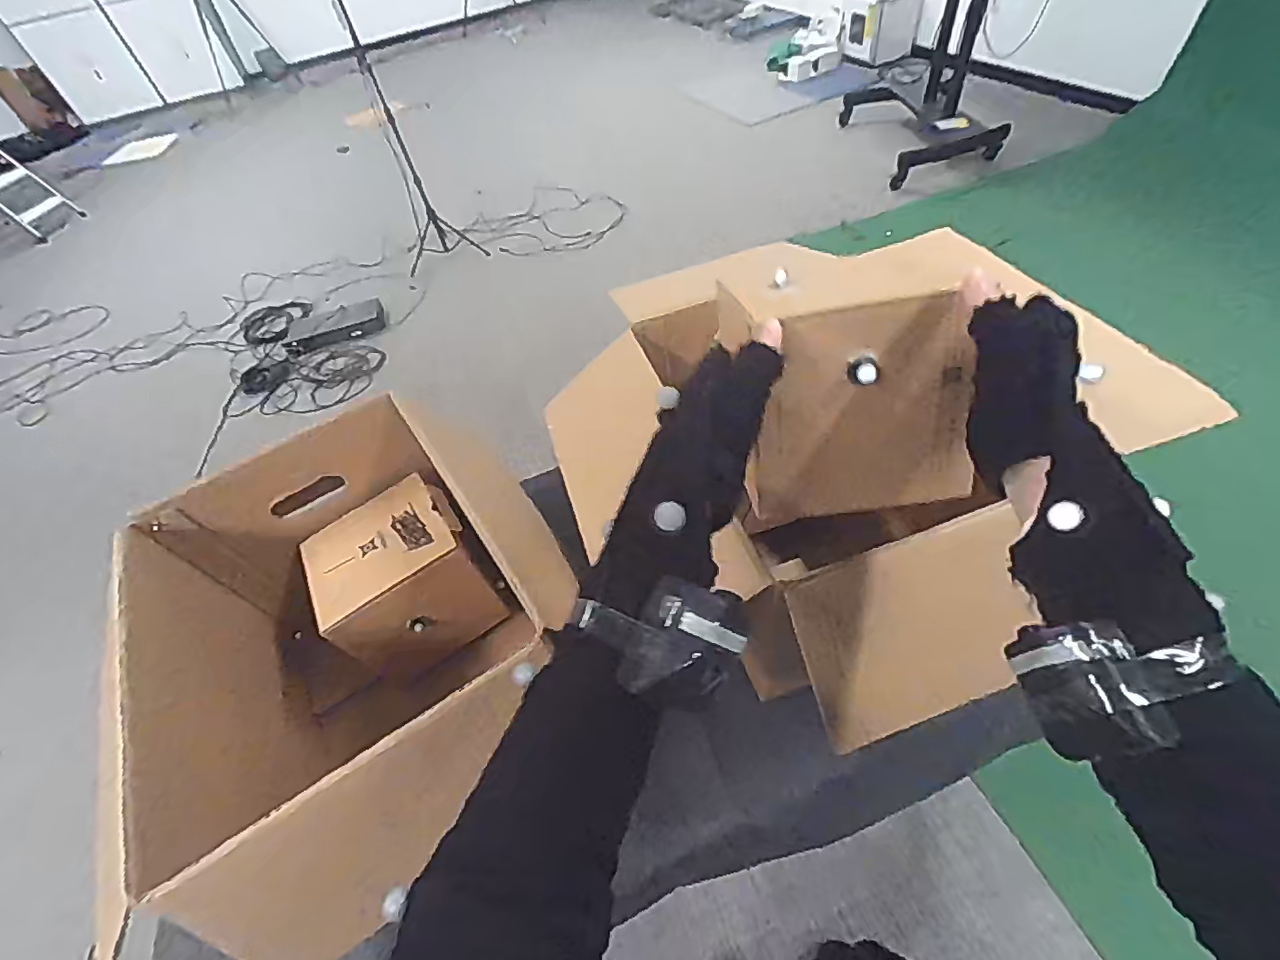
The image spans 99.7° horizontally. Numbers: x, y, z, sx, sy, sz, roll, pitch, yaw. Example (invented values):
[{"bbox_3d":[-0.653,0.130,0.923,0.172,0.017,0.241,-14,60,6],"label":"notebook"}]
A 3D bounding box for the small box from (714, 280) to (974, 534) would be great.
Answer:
[{"bbox_3d":[0.163,-0.074,0.478,0.176,0.168,0.179,-5,27,6],"label":"small box"}]
